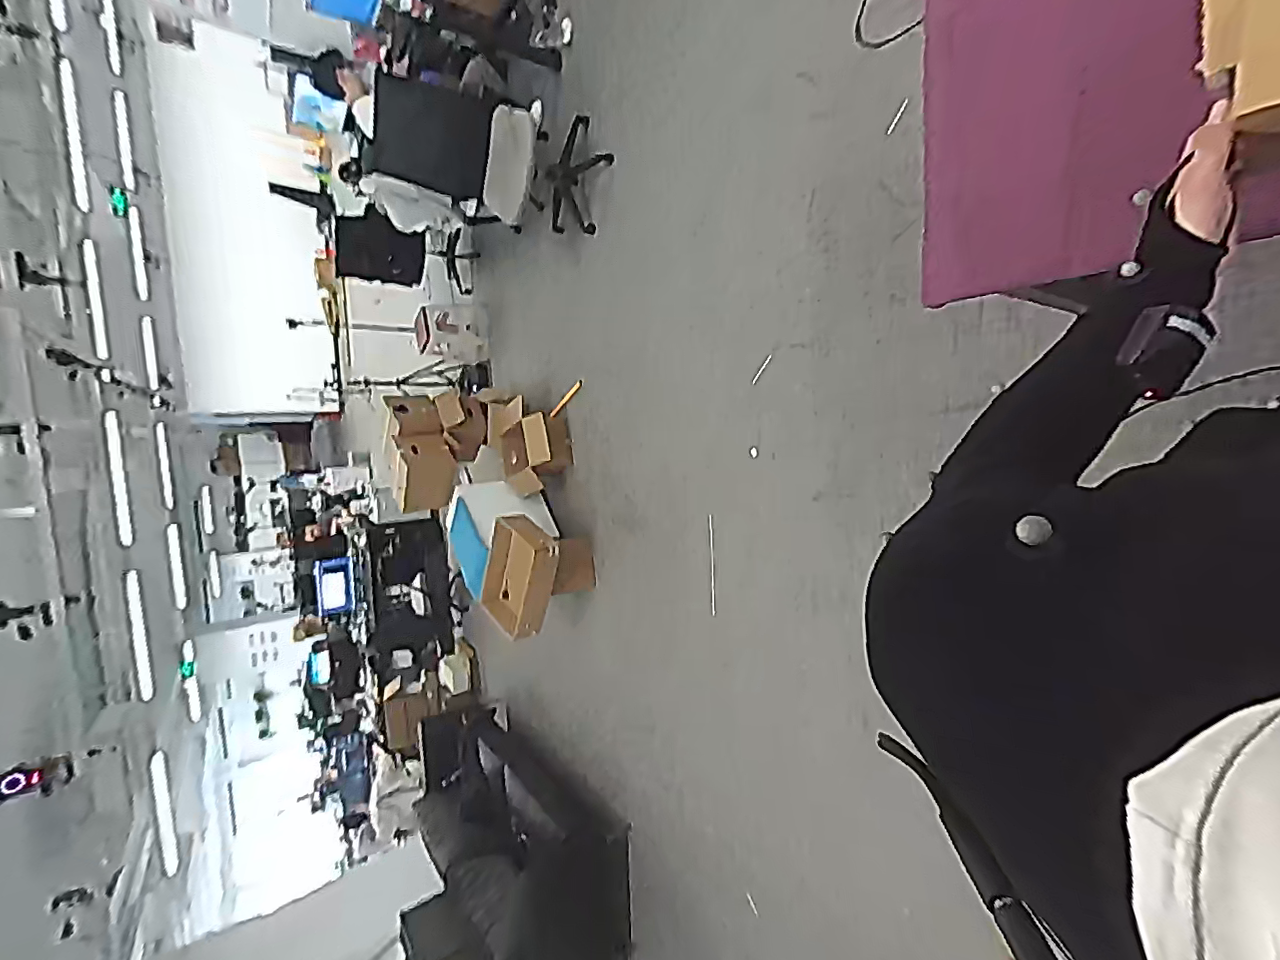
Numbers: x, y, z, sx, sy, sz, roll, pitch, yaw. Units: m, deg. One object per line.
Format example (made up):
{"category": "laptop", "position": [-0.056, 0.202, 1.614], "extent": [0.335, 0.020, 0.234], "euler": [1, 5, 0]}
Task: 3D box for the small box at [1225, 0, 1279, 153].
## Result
{"category": "small box", "position": [0.546, -0.356, 0.375], "extent": [0.168, 0.176, 0.179], "euler": [8, 101, 50]}
